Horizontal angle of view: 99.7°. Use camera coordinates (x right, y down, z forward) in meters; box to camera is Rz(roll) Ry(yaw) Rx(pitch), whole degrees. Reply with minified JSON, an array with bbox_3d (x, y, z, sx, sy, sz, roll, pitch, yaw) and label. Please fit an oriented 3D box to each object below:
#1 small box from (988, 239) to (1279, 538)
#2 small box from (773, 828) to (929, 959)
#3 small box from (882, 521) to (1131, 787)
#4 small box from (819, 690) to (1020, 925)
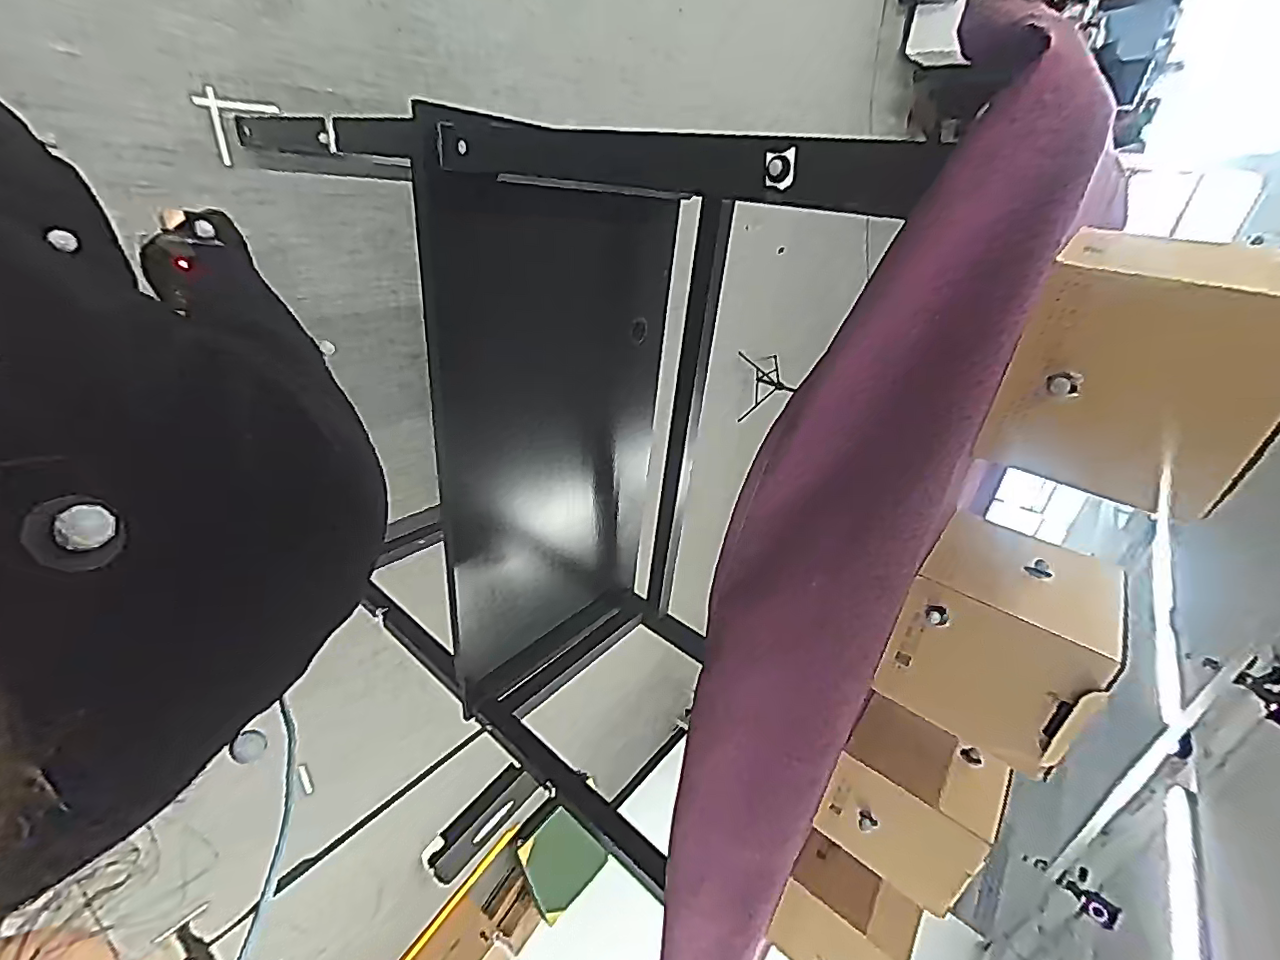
[{"bbox_3d":[0.425,-0.089,0.461,0.168,0.176,0.179,-36,139,-38],"label":"small box"},{"bbox_3d":[0.321,0.653,0.824,0.168,0.176,0.179,-25,129,-47],"label":"small box"},{"bbox_3d":[0.385,0.171,0.583,0.179,0.176,0.168,-29,134,-44],"label":"small box"},{"bbox_3d":[0.358,0.401,0.703,0.179,0.176,0.168,-28,133,-44],"label":"small box"}]
